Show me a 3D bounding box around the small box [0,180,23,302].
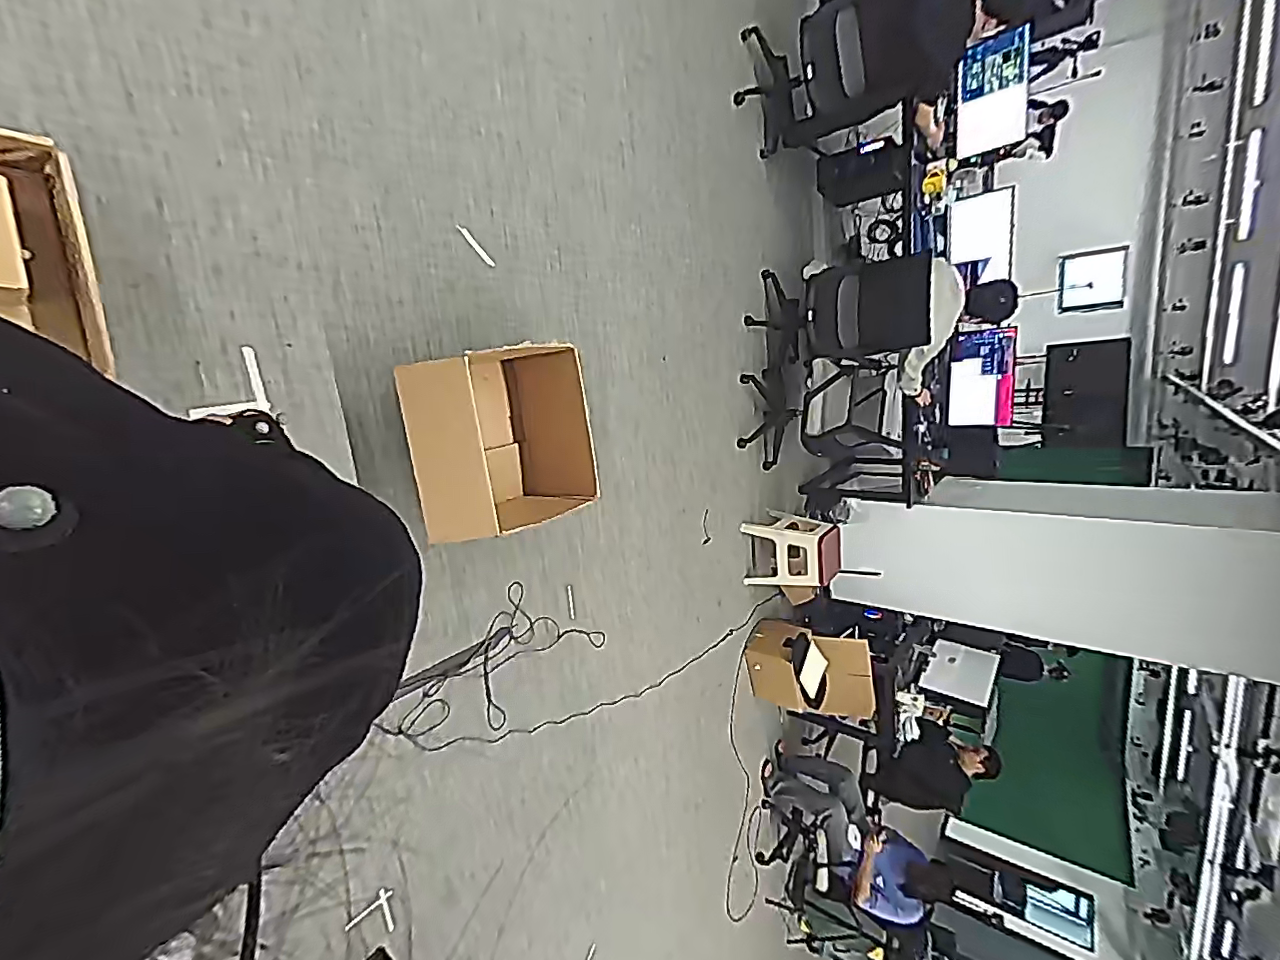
[{"bbox_3d":[-1.108,-0.384,0.848,0.168,0.176,0.179,-13,105,-49],"label":"small box"}]
